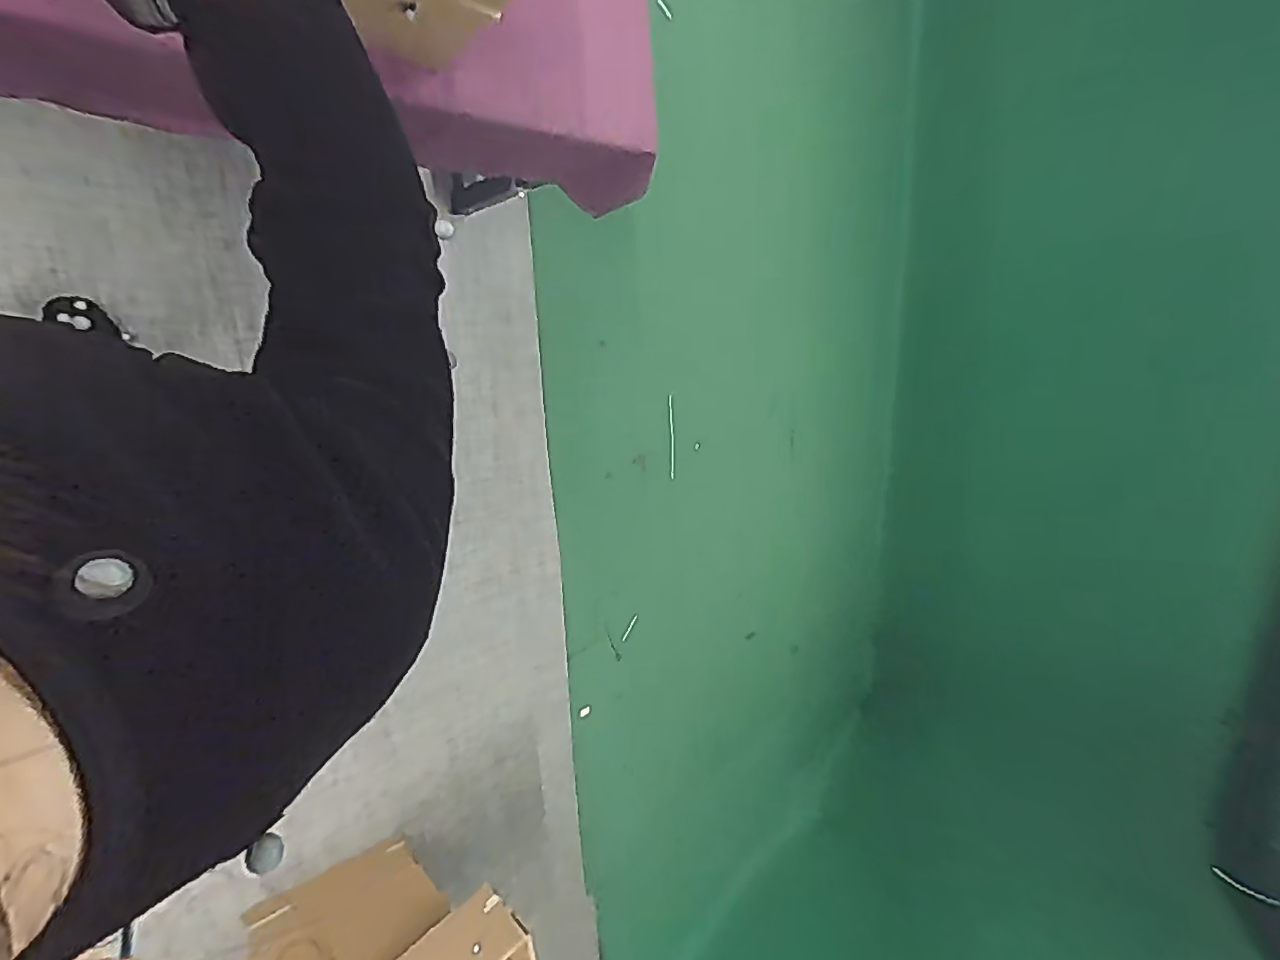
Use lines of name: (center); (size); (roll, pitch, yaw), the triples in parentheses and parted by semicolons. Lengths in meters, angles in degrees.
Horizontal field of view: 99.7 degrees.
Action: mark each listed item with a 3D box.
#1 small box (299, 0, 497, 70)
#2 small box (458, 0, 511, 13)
small box: (-0.295, -0.621, 0.633); (0.179, 0.176, 0.168); (-18, 111, -43)
small box: (-0.178, -0.605, 0.520); (0.168, 0.176, 0.179); (-21, 112, -43)
